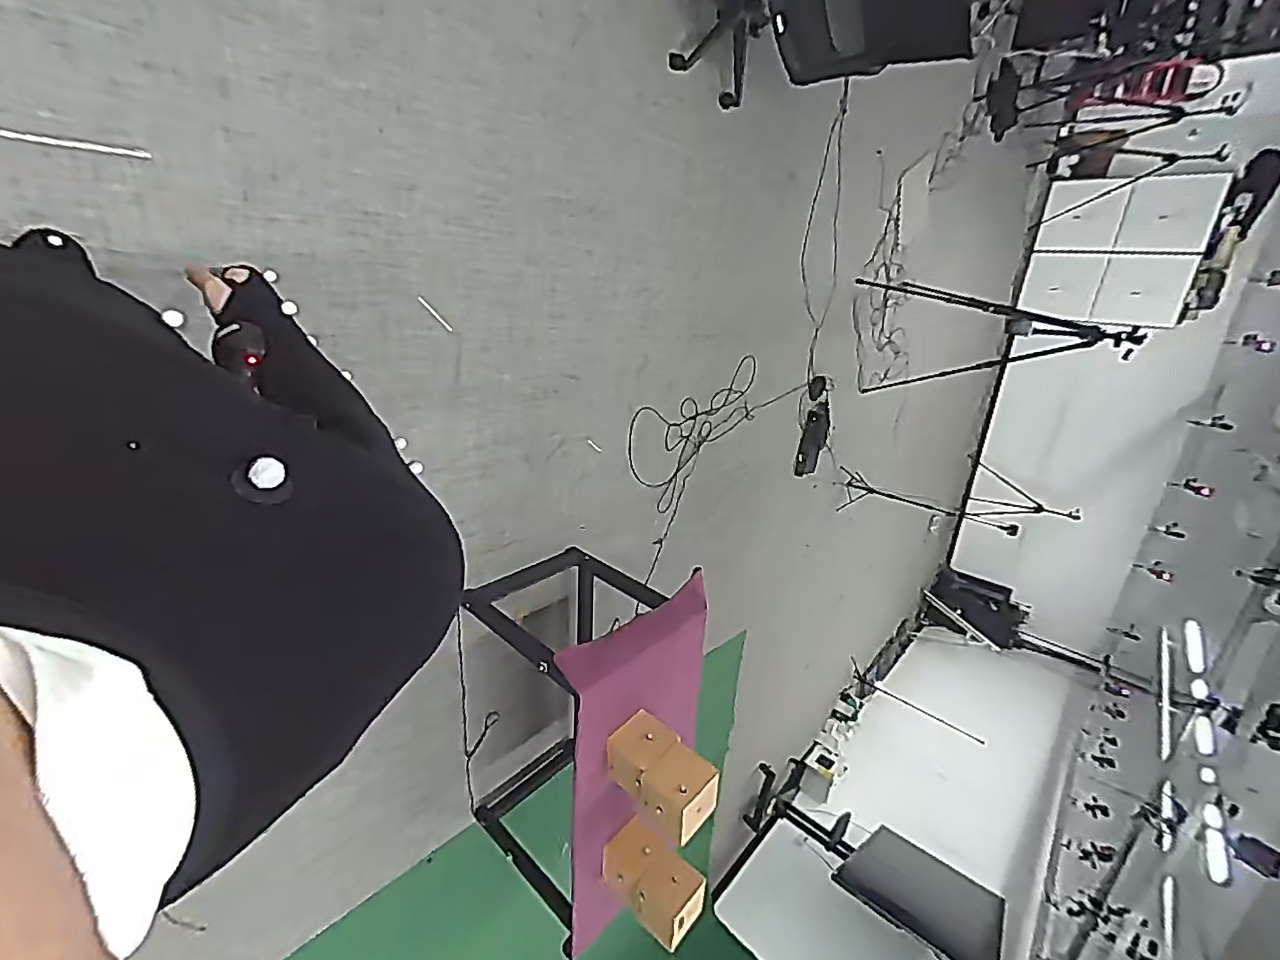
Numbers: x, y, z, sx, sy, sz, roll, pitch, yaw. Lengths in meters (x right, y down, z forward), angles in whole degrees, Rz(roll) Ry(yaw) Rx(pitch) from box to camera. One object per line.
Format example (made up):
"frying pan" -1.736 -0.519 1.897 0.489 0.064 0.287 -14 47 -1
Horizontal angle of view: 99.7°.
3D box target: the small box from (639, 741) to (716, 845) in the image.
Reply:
"small box" 0.112 0.950 1.656 0.179 0.176 0.168 -23 124 -43

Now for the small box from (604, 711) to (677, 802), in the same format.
"small box" 0.001 0.900 1.769 0.179 0.176 0.168 -25 123 -43

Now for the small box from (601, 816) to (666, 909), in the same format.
"small box" -0.027 1.366 1.941 0.179 0.176 0.168 -22 121 -46

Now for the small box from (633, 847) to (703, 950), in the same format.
"small box" 0.091 1.410 1.835 0.179 0.176 0.168 -18 119 -48
